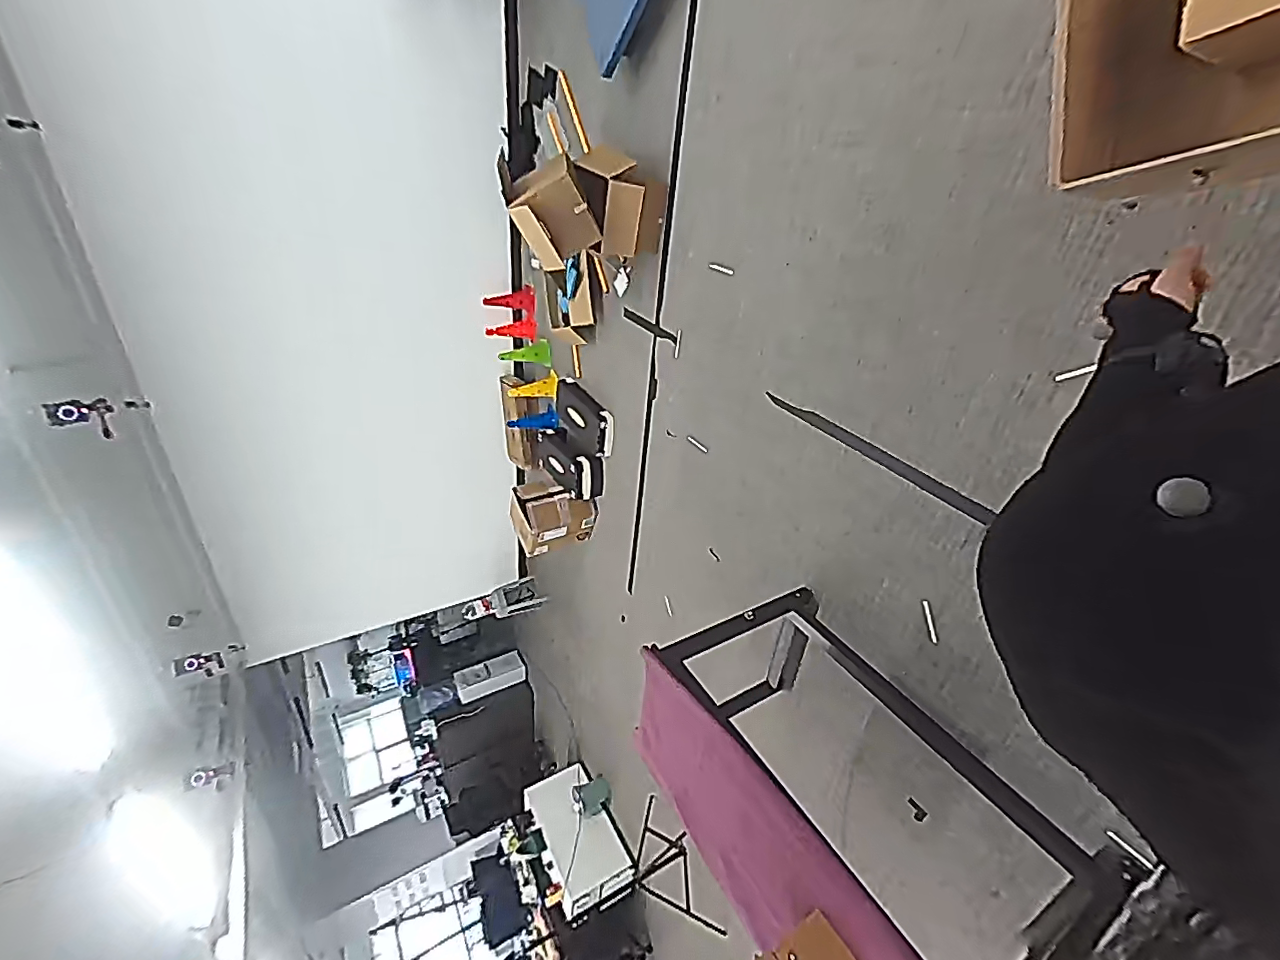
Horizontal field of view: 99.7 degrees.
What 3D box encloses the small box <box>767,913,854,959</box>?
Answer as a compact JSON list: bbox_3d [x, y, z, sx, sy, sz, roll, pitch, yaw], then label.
[{"bbox_3d":[0.411,1.178,1.265,0.179,0.176,0.168,40,135,48],"label":"small box"}]
